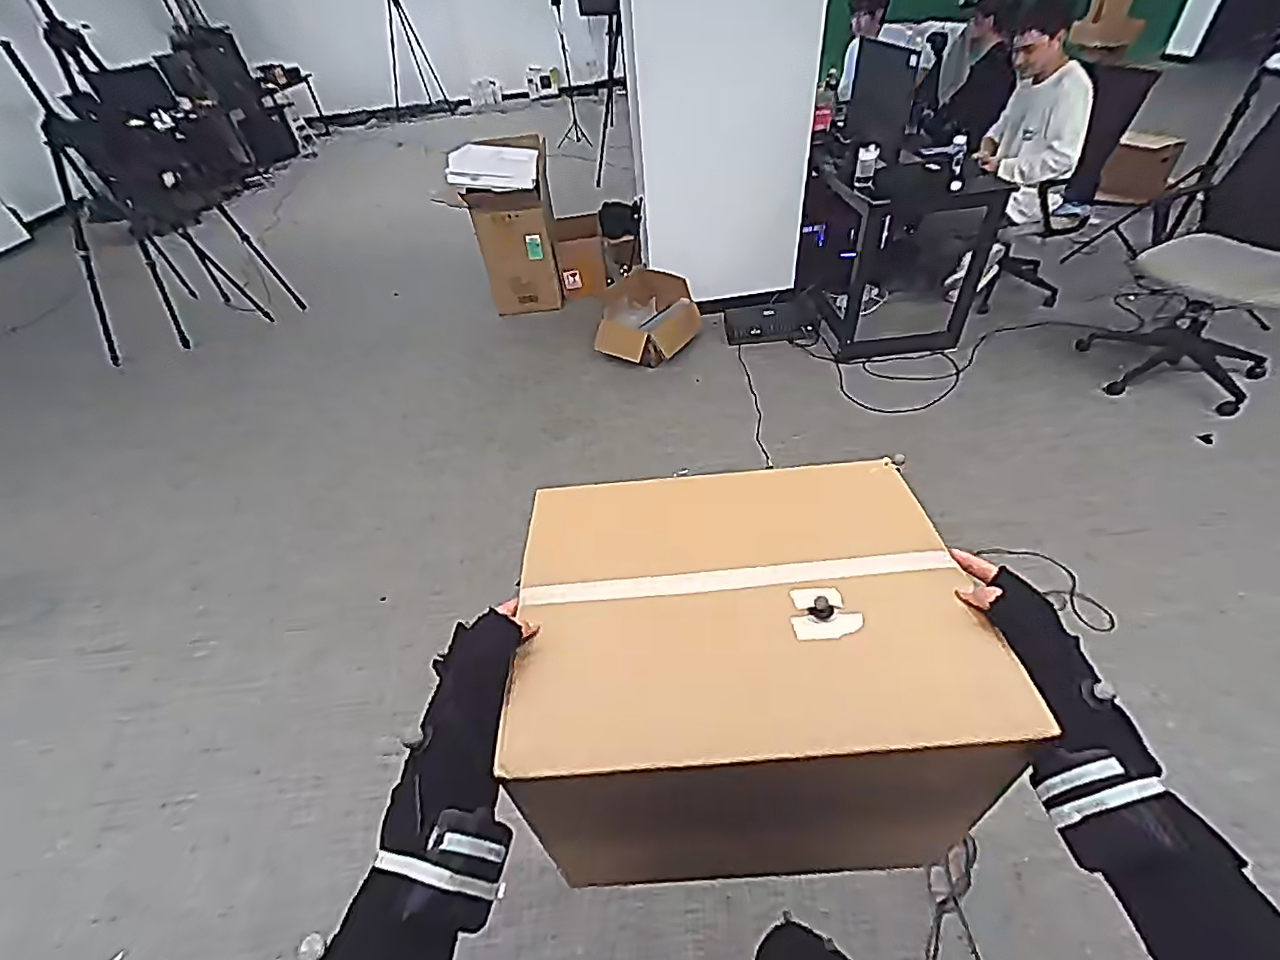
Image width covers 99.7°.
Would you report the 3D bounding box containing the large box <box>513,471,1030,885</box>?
[{"bbox_3d":[0.102,0.218,0.615,0.408,0.320,0.320,-5,41,1],"label":"large box"}]
